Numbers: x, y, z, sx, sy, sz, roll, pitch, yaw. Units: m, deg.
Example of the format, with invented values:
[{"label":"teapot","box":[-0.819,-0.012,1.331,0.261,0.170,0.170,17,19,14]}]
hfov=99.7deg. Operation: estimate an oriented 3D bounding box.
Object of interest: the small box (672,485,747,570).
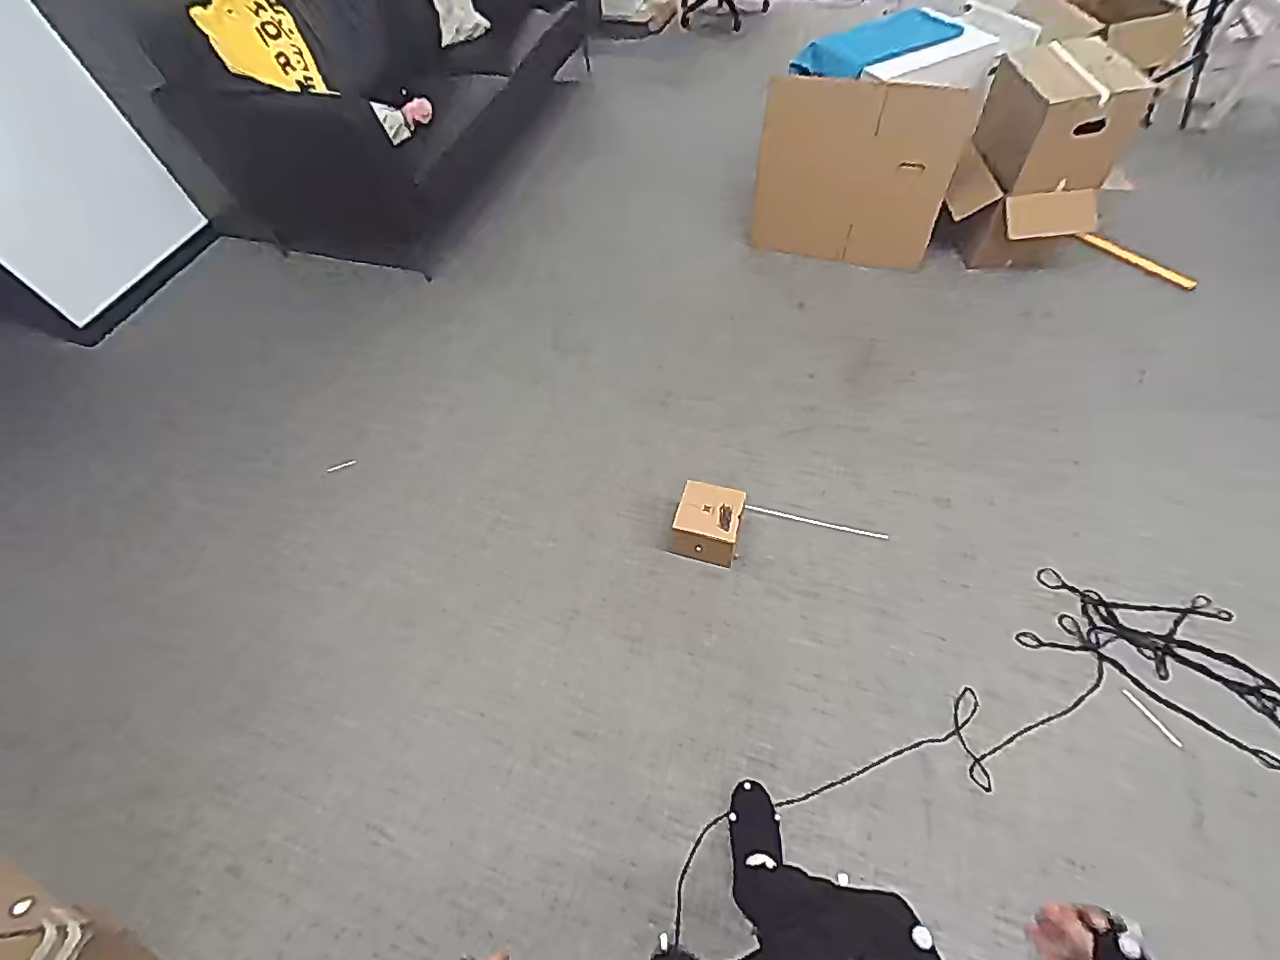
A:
[{"label":"small box","box":[0.200,0.142,1.552,0.179,0.176,0.168,13,58,15]}]
